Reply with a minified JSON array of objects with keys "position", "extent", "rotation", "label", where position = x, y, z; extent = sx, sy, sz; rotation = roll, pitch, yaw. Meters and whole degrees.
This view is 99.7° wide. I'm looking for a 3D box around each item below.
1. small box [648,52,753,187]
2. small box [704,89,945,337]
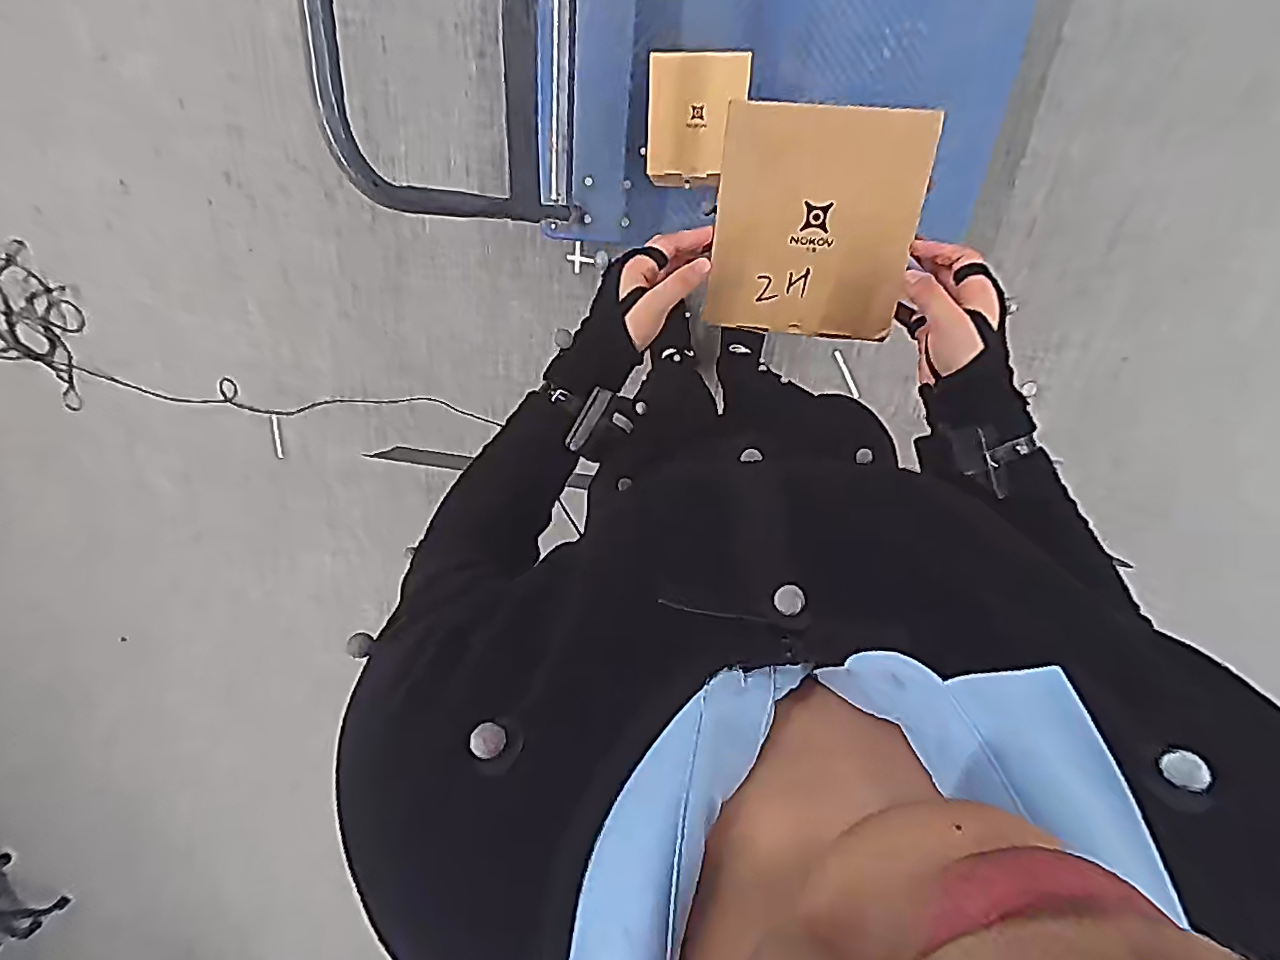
[{"position":[0.103,-0.637,0.973],"extent":[0.168,0.176,0.179],"rotation":[3,114,5],"label":"small box"},{"position":[0.155,-0.247,0.520],"extent":[0.168,0.176,0.179],"rotation":[8,115,6],"label":"small box"}]
